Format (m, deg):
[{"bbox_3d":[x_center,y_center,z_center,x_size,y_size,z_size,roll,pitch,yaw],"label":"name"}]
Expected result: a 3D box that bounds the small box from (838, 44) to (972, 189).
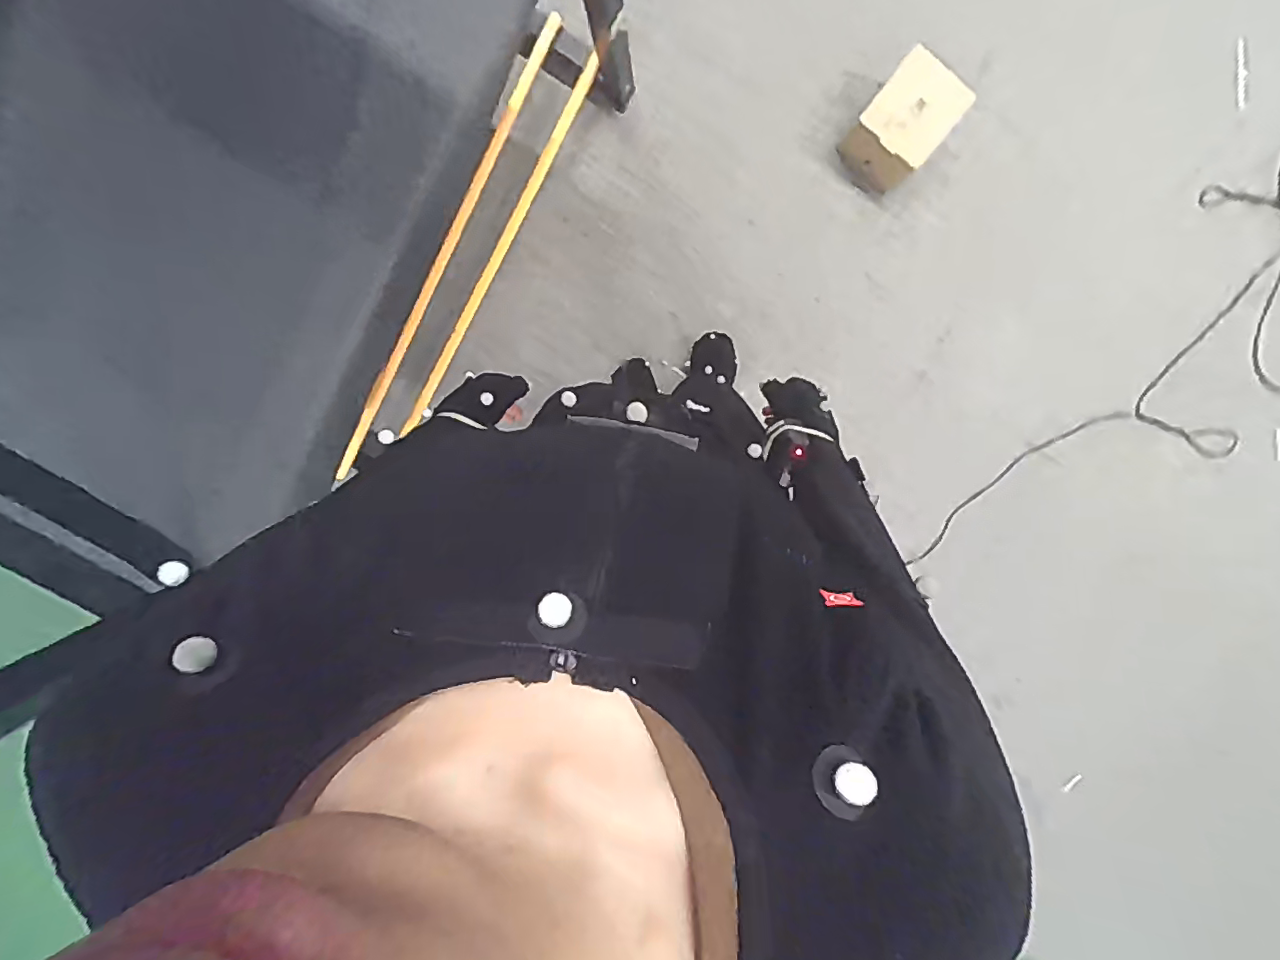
[{"bbox_3d":[0.568,-0.785,1.190,0.168,0.176,0.179,37,103,-6],"label":"small box"}]
